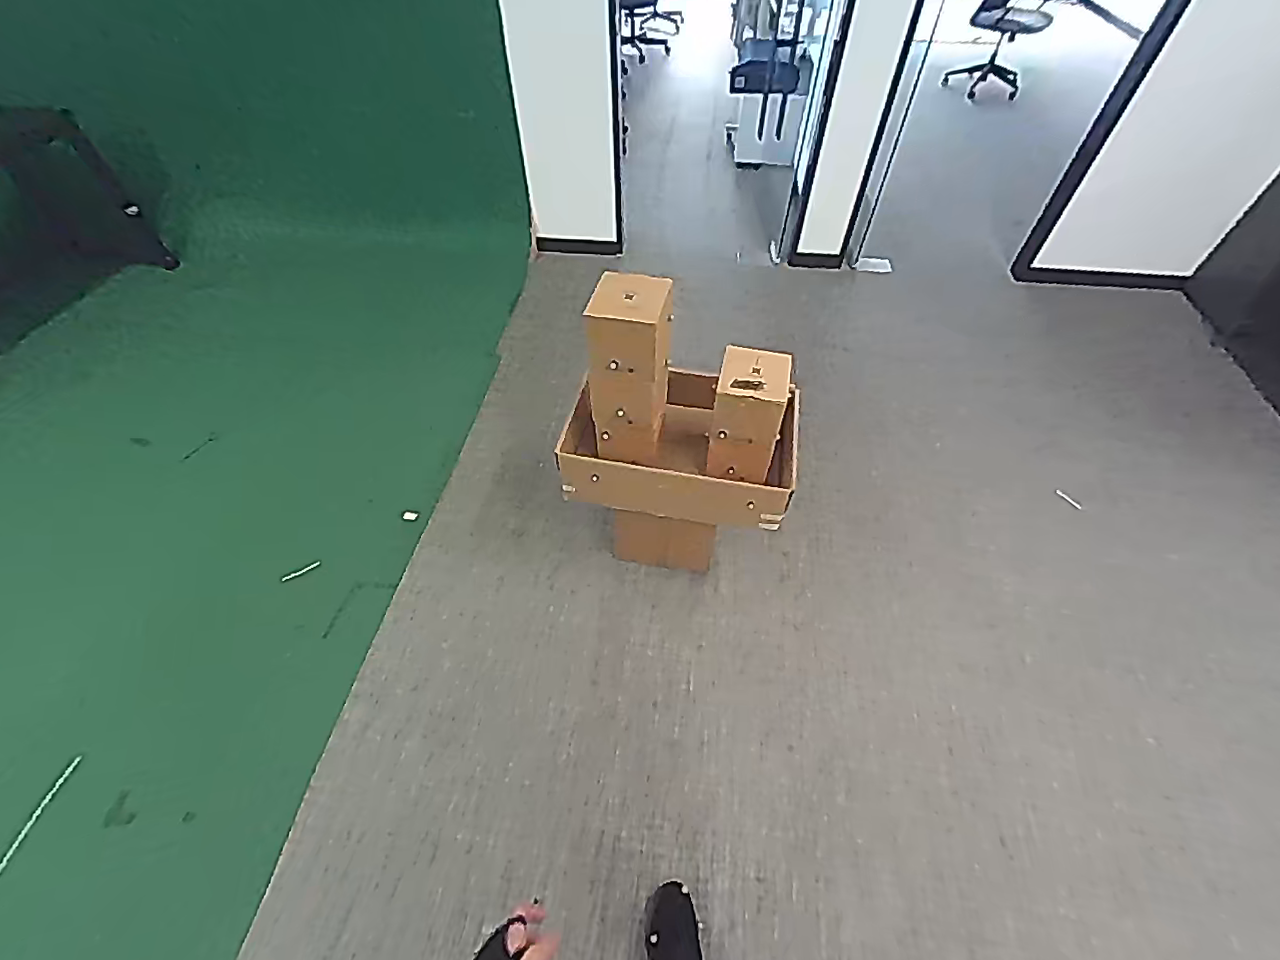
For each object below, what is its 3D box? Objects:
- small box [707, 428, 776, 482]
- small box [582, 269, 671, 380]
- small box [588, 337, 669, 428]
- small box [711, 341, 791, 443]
[{"bbox_3d":[0.279,-0.121,1.484,0.168,0.176,0.179,9,54,7],"label":"small box"},{"bbox_3d":[-0.027,-0.362,1.260,0.168,0.176,0.179,9,53,9],"label":"small box"},{"bbox_3d":[-0.026,-0.263,1.390,0.168,0.176,0.179,10,53,10],"label":"small box"},{"bbox_3d":[0.273,-0.216,1.349,0.168,0.176,0.179,10,54,8],"label":"small box"}]
